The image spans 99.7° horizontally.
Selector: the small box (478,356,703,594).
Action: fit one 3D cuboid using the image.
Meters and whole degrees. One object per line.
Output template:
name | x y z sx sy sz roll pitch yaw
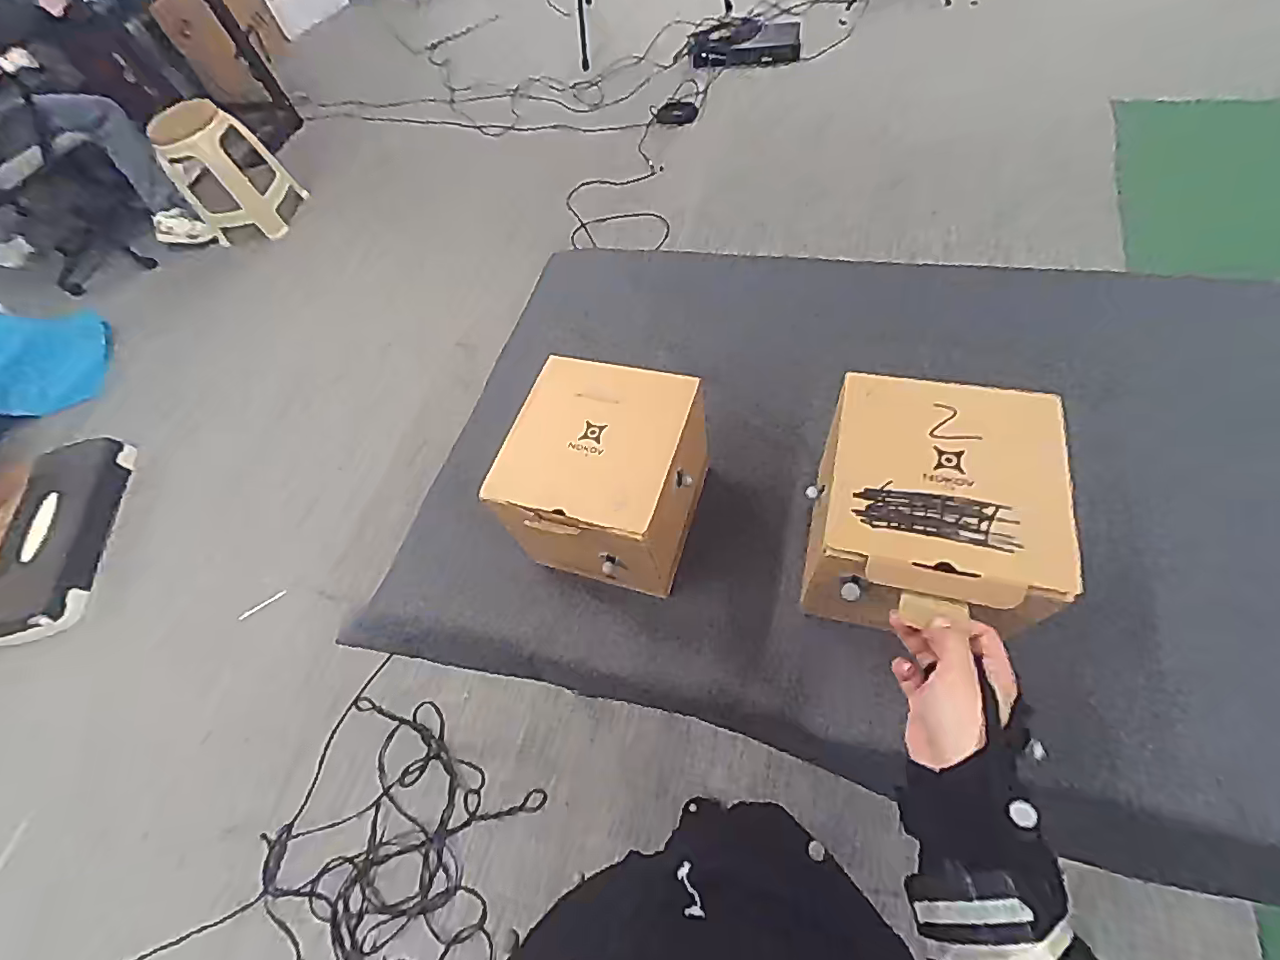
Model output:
small box | -0.033 0.000 0.567 0.168 0.176 0.179 12 62 16
